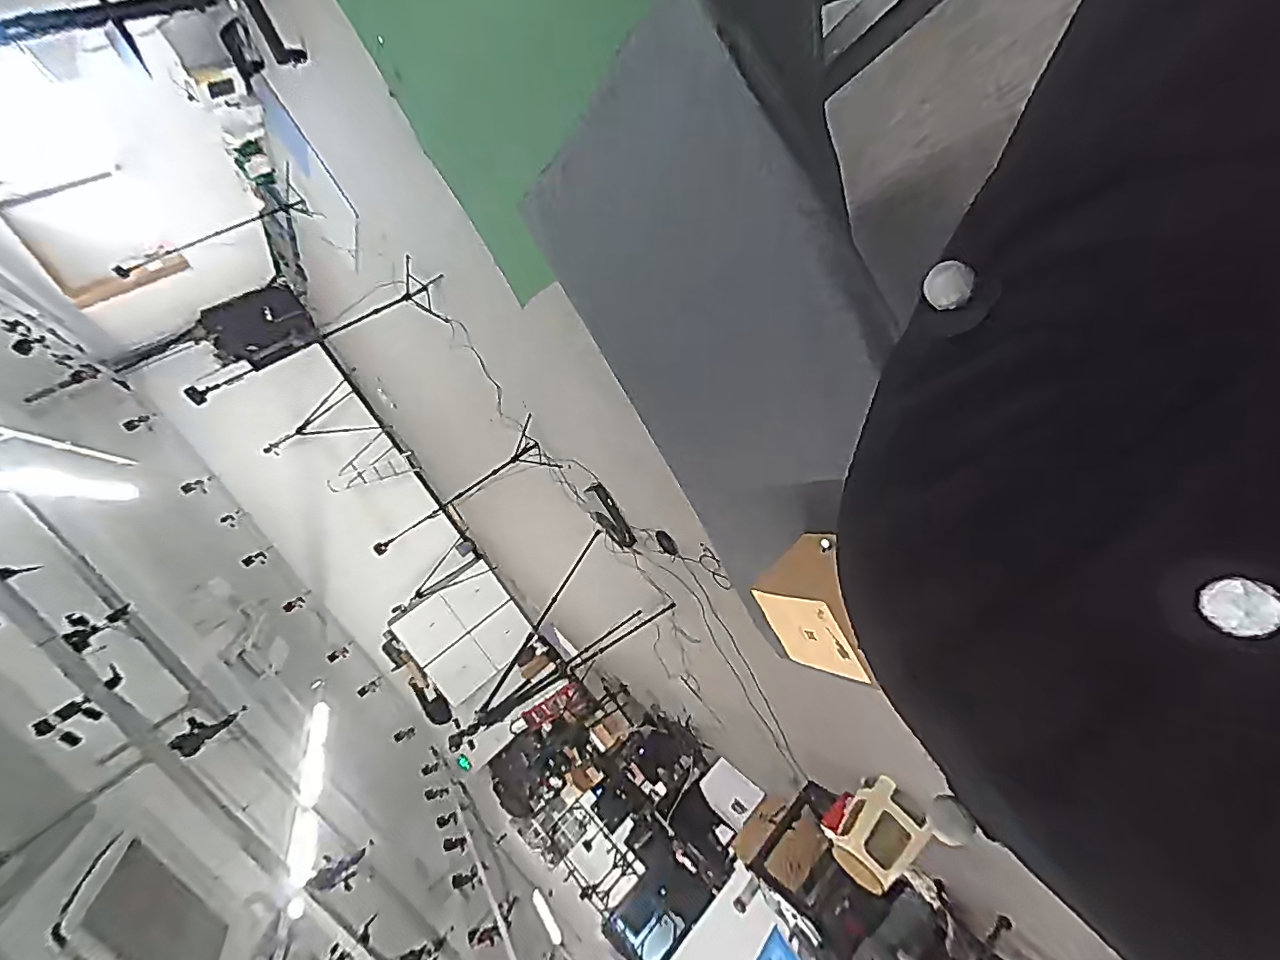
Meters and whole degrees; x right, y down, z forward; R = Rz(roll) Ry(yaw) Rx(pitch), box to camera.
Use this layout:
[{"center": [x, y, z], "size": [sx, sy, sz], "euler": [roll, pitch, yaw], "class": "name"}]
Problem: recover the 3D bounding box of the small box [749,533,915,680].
[{"center": [0.328, 0.204, 0.928], "size": [0.168, 0.176, 0.179], "euler": [58, 155, -13], "class": "small box"}]
